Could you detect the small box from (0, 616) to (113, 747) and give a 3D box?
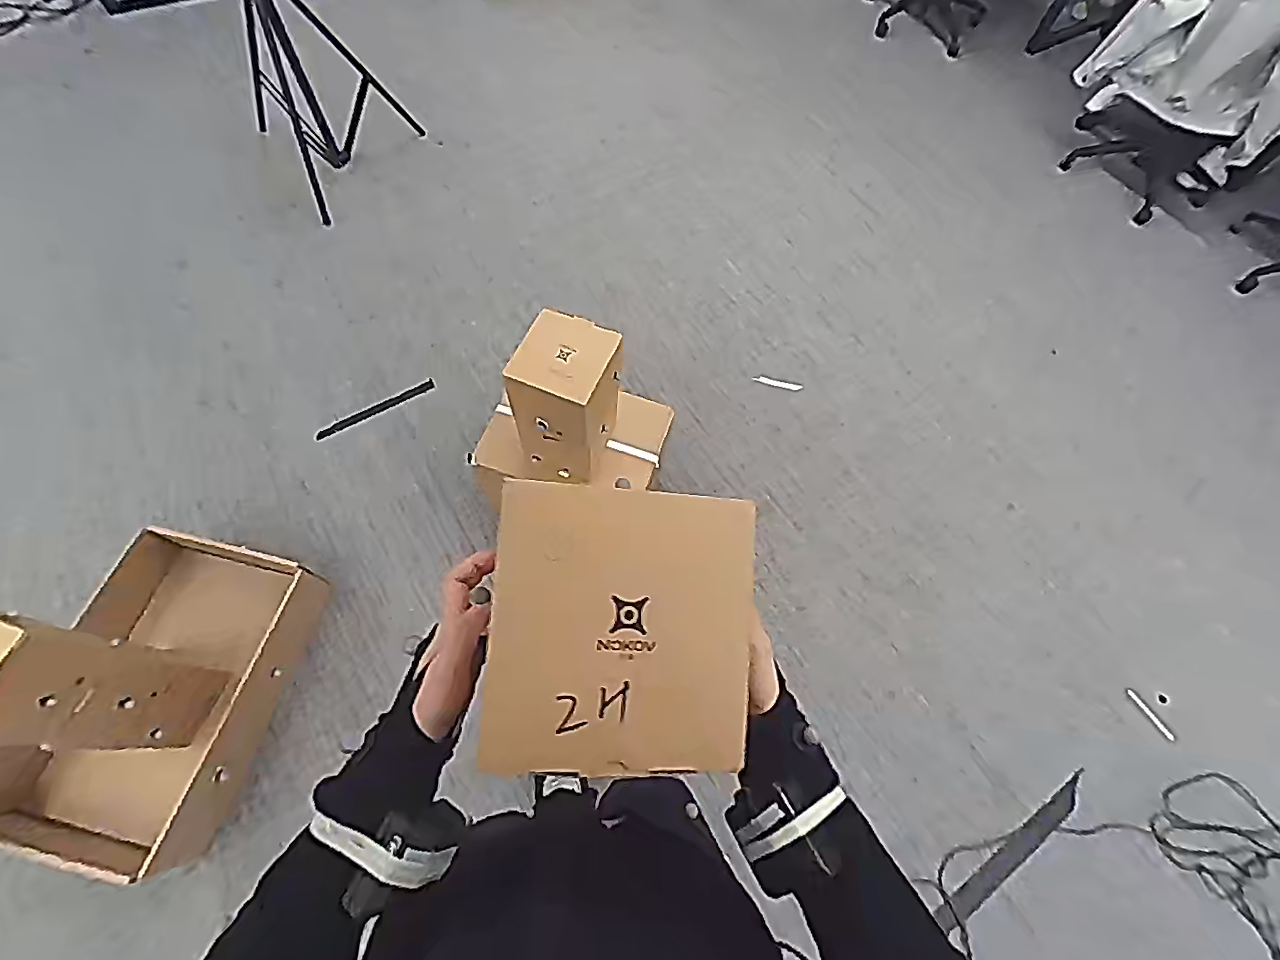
[{"bbox_3d":[-1.025,0.314,0.856,0.179,0.176,0.168,16,64,4],"label":"small box"}]

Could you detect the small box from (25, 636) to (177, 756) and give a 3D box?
[{"bbox_3d":[-1.030,0.393,1.000,0.179,0.176,0.168,17,64,4],"label":"small box"}]

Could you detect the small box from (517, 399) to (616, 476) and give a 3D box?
[{"bbox_3d":[-0.154,-0.122,1.205,0.168,0.176,0.179,19,64,4],"label":"small box"}]

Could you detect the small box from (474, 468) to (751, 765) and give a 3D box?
[{"bbox_3d":[-0.027,0.096,0.415,0.168,0.176,0.179,6,83,-11],"label":"small box"}]

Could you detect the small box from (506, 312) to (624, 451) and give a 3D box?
[{"bbox_3d":[-0.141,-0.187,1.056,0.168,0.176,0.179,21,66,6],"label":"small box"}]
